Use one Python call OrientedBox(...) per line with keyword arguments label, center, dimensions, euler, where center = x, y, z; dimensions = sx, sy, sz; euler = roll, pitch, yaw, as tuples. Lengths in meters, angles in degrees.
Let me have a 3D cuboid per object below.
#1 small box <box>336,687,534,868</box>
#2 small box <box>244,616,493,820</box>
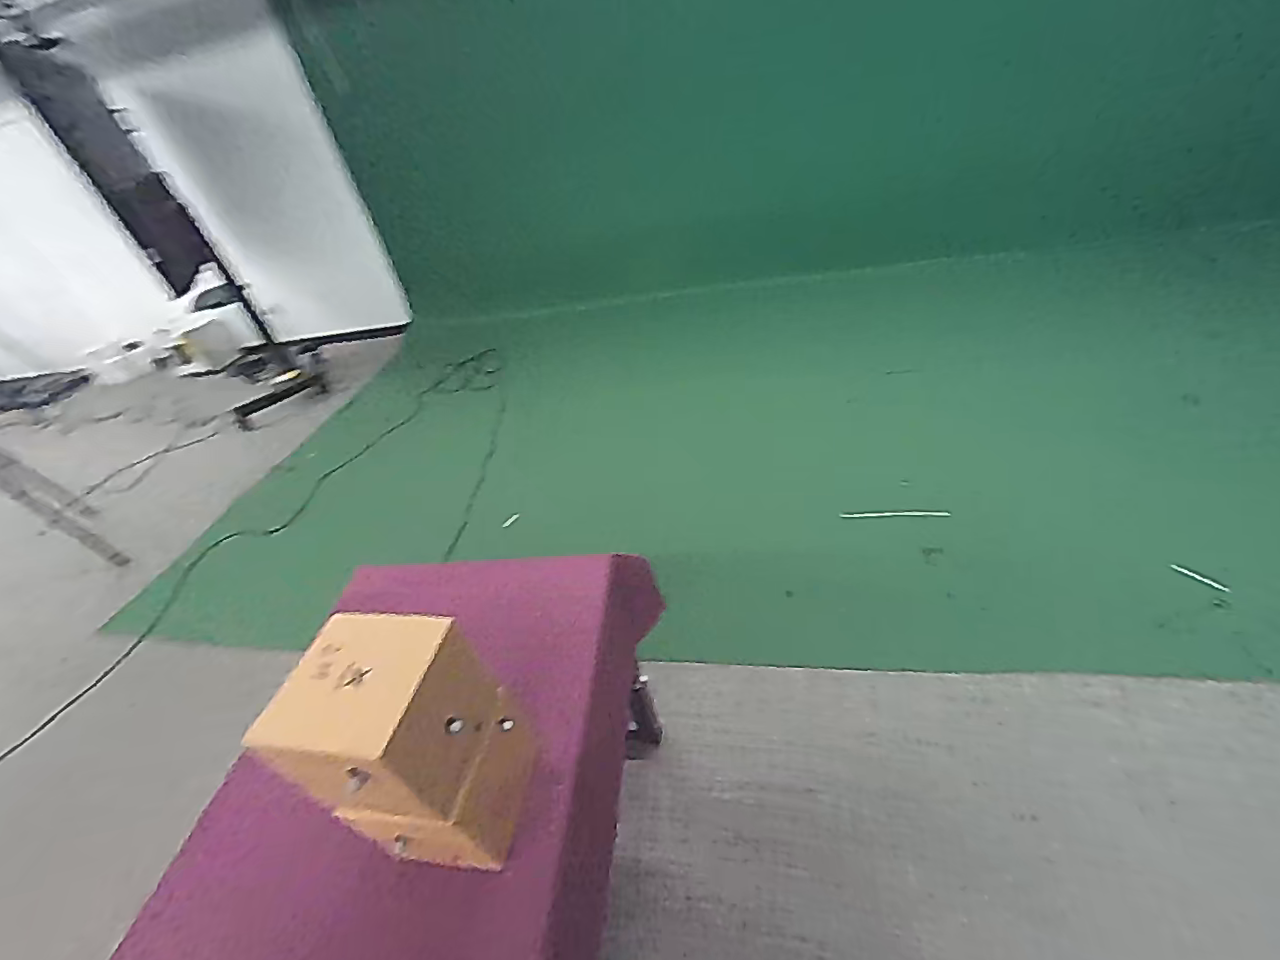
OrientedBox(label="small box", center=(-0.266, 0.410, 0.753), dimensions=(0.168, 0.176, 0.179), euler=(-4, 39, 14))
OrientedBox(label="small box", center=(-0.305, 0.285, 0.653), dimensions=(0.179, 0.176, 0.168), euler=(-3, 39, 16))
